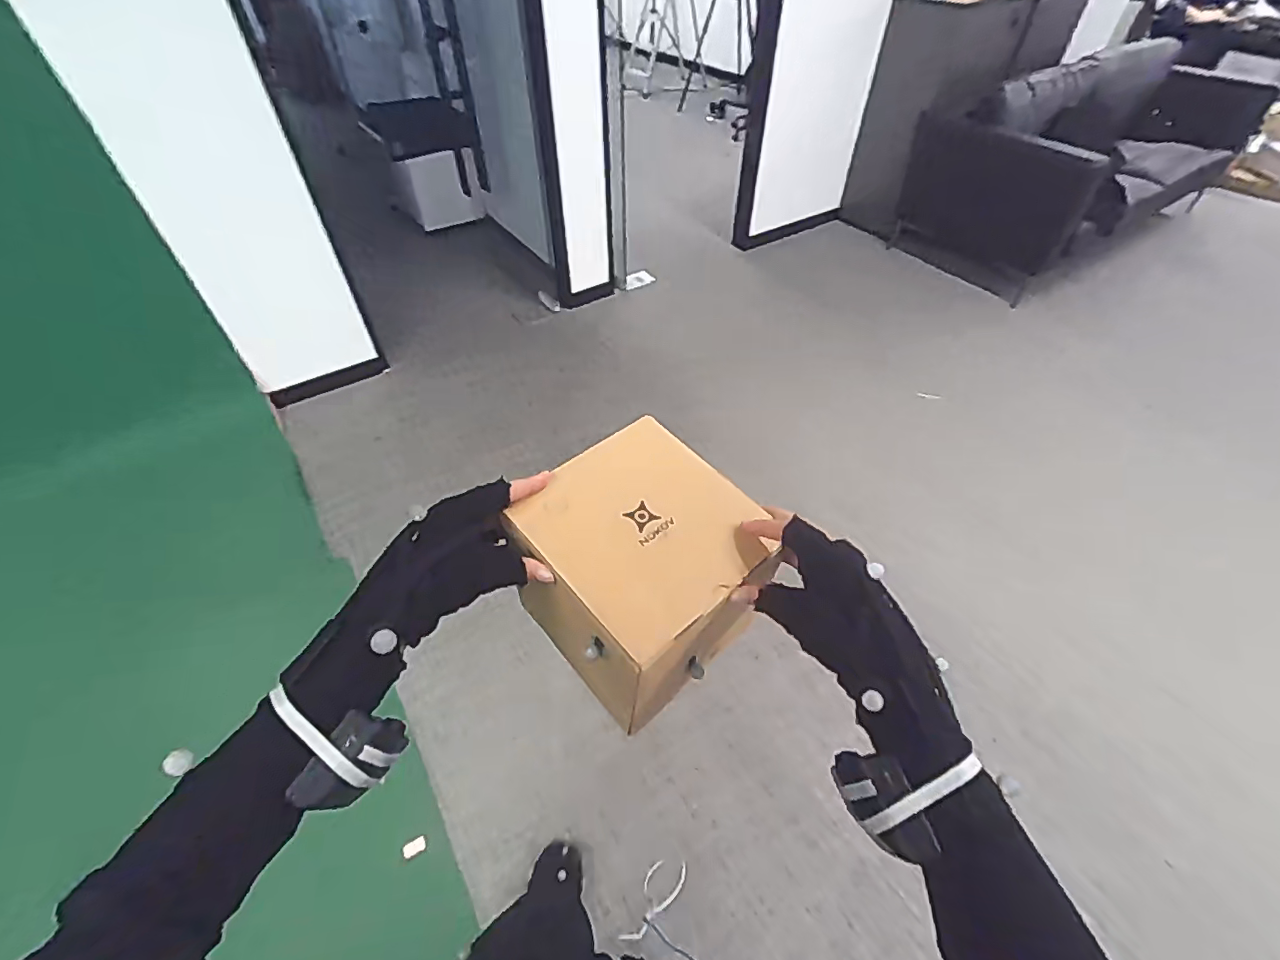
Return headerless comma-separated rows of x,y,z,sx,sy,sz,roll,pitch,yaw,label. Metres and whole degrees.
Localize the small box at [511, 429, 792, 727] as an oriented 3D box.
0.002,0.091,0.501,0.168,0.176,0.179,-32,61,-27,small box
